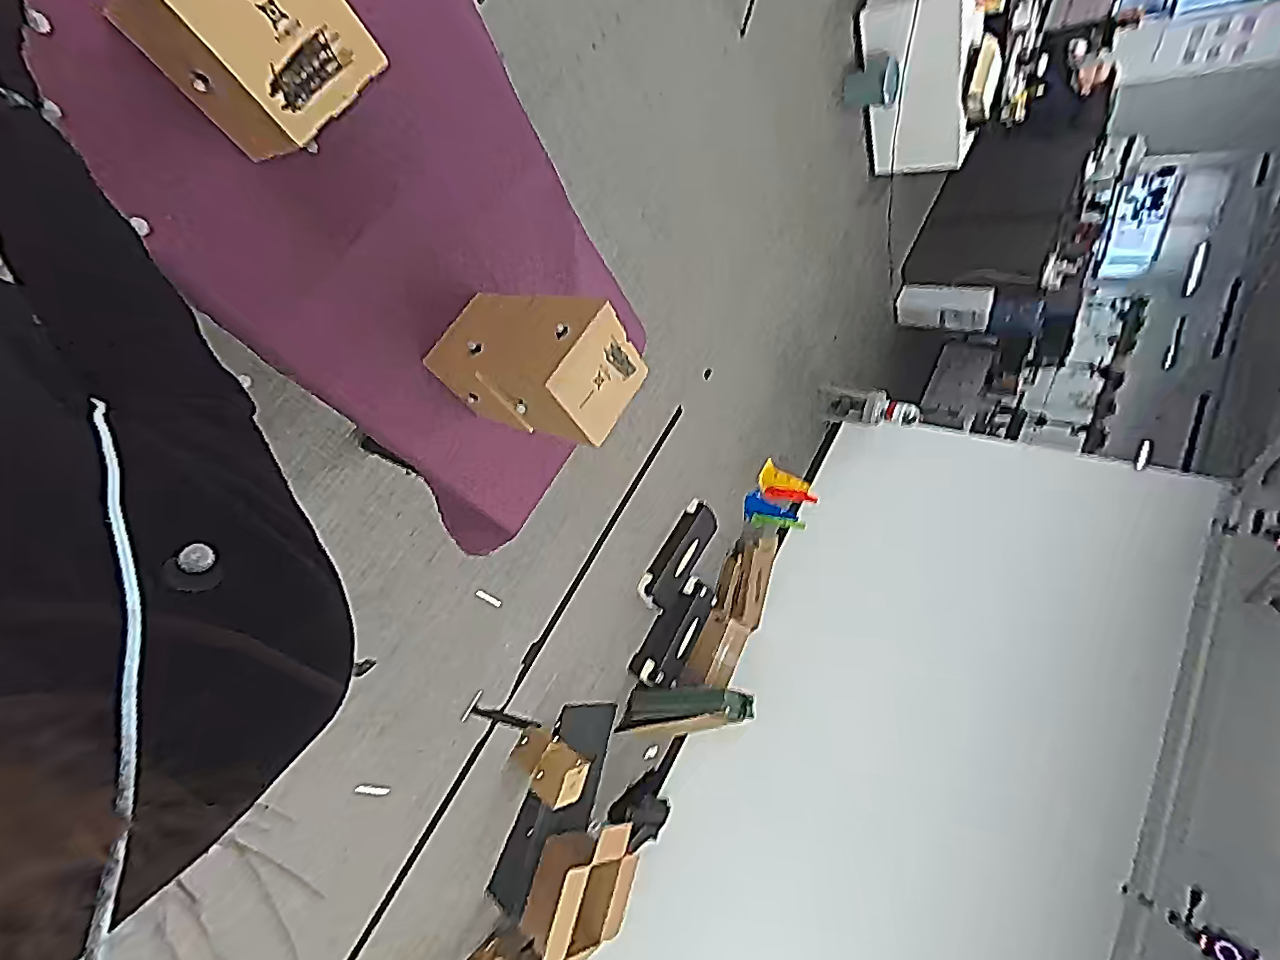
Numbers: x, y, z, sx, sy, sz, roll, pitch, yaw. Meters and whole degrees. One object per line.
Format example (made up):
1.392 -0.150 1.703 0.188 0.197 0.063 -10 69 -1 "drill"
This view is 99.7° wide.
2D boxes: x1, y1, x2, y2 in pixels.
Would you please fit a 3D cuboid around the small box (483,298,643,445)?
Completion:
-0.130 -0.189 0.917 0.179 0.176 0.168 -58 141 -17 "small box"

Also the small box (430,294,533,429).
-0.260 -0.225 1.010 0.179 0.176 0.168 -59 142 -17 "small box"
